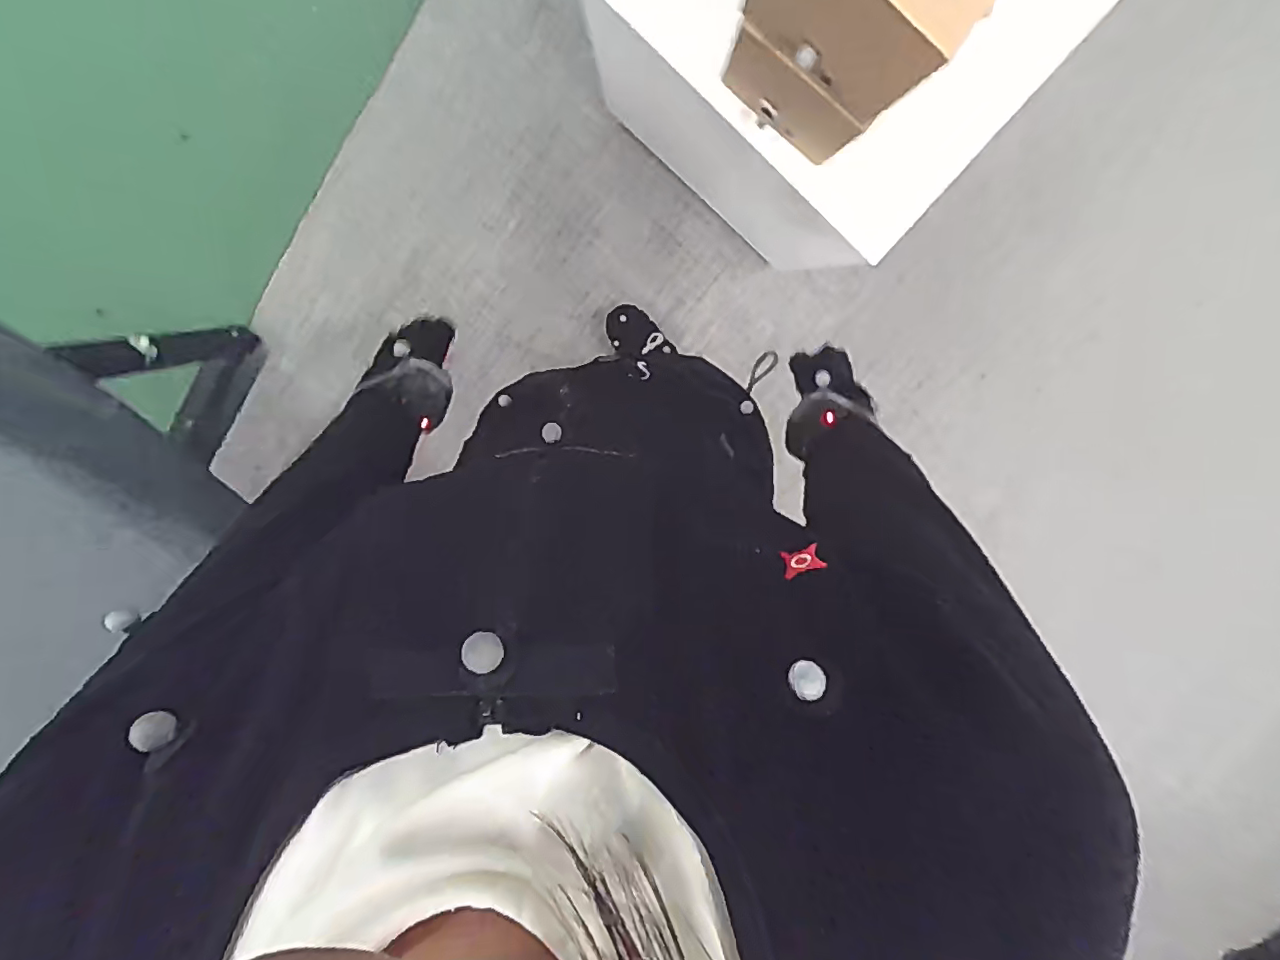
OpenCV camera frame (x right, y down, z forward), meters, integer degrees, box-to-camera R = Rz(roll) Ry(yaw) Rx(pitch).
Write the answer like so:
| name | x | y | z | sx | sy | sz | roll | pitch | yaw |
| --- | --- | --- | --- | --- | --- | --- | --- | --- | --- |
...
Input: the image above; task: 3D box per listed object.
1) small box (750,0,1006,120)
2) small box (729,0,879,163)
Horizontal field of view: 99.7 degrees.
| name | x | y | z | sx | sy | sz | roll | pitch | yaw |
| --- | --- | --- | --- | --- | --- | --- | --- | --- | --- |
| small box | 0.204 | -0.427 | 0.412 | 0.168 | 0.176 | 0.179 | 32 | 106 | -9 |
| small box | 0.209 | -0.476 | 0.568 | 0.168 | 0.176 | 0.179 | 34 | 108 | -9 |
